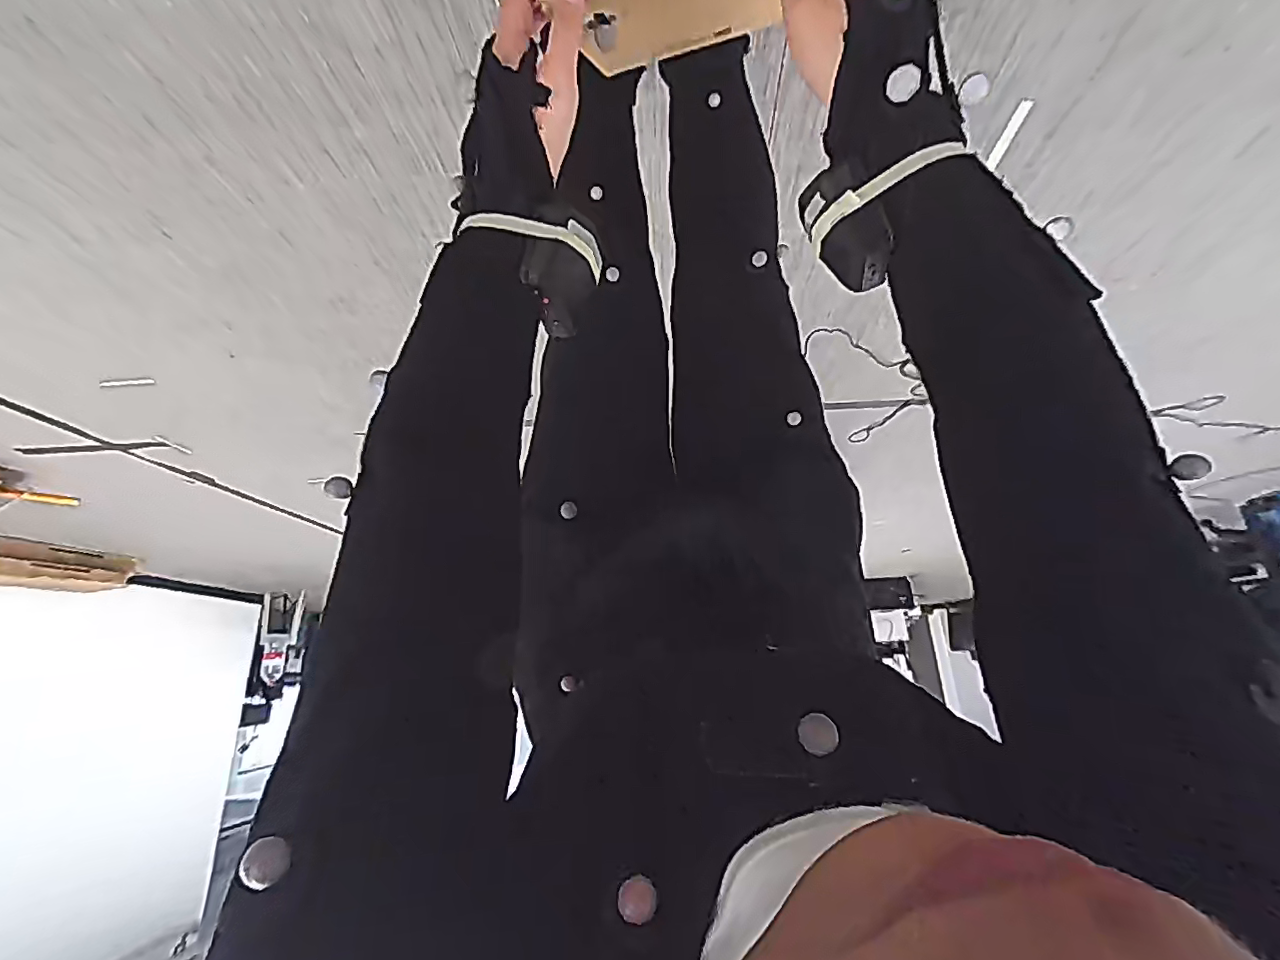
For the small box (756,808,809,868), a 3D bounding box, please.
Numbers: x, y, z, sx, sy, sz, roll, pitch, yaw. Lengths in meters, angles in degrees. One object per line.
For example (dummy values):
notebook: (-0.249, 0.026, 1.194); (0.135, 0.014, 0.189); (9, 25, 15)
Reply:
small box: (0.570, 1.443, 2.185); (0.179, 0.176, 0.168); (-4, 160, 7)
